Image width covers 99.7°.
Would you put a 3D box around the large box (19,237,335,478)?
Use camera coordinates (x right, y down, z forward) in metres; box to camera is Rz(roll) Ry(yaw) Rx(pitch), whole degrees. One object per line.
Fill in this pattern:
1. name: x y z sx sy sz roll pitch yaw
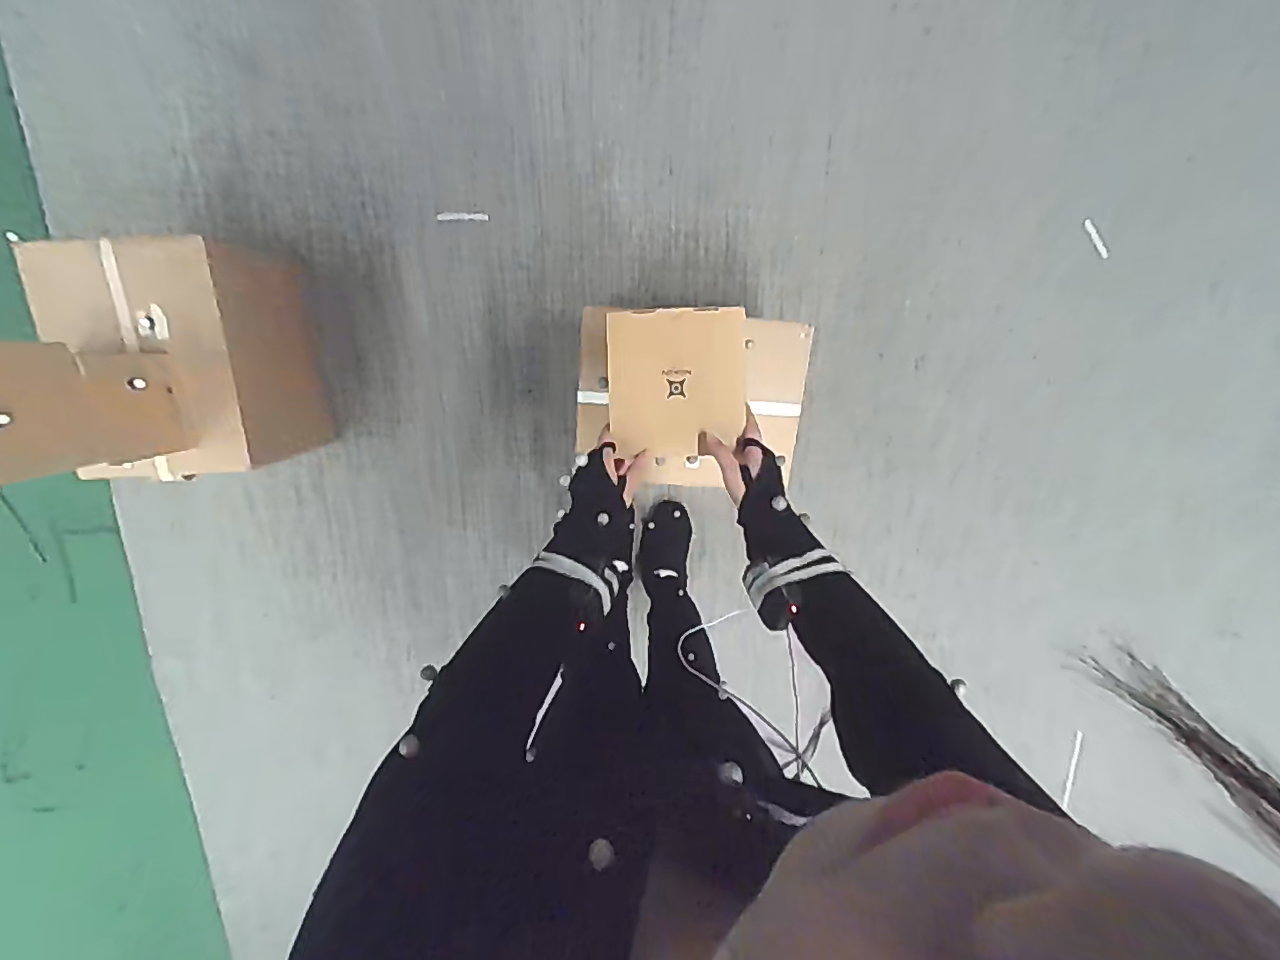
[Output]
1. large box: -0.868 -0.233 1.080 0.320 0.320 0.408 -2 102 -2

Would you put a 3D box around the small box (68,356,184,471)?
1. small box: -0.876 -0.110 0.858 0.179 0.176 0.168 -3 103 0

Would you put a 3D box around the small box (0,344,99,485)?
1. small box: -0.870 -0.080 0.697 0.168 0.176 0.179 -7 102 -1

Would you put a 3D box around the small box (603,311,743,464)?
1. small box: 0.046 -0.115 0.716 0.168 0.176 0.179 -1 94 4
